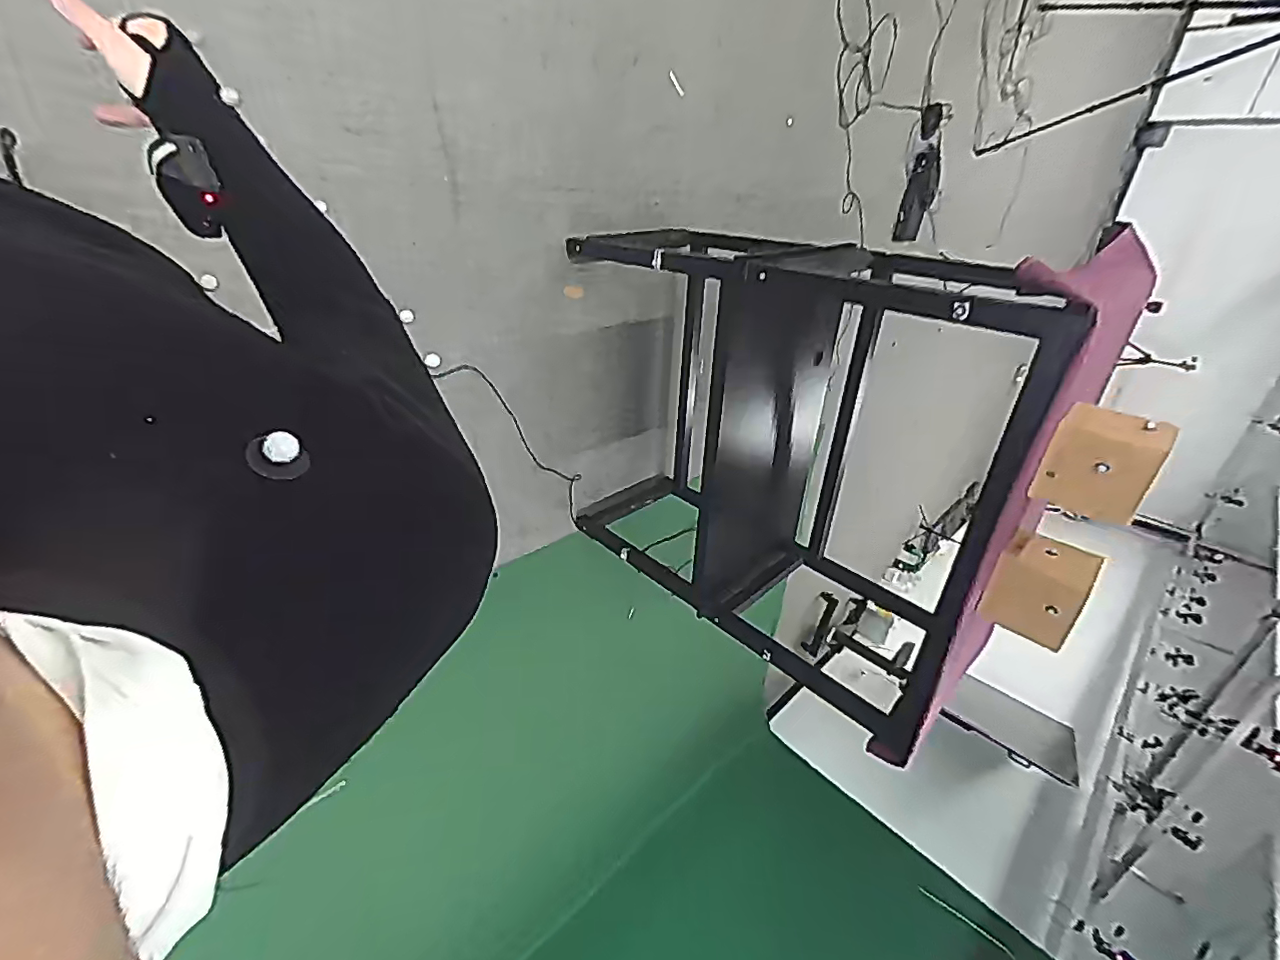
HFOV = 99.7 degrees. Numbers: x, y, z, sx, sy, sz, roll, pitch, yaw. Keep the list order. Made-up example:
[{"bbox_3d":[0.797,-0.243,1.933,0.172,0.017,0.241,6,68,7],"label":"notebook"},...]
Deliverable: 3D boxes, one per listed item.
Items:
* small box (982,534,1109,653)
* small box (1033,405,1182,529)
[{"bbox_3d":[0.892,0.239,1.200,0.168,0.176,0.179,-24,128,-38],"label":"small box"},{"bbox_3d":[0.902,-0.033,1.055,0.179,0.176,0.168,-25,128,-39],"label":"small box"}]
